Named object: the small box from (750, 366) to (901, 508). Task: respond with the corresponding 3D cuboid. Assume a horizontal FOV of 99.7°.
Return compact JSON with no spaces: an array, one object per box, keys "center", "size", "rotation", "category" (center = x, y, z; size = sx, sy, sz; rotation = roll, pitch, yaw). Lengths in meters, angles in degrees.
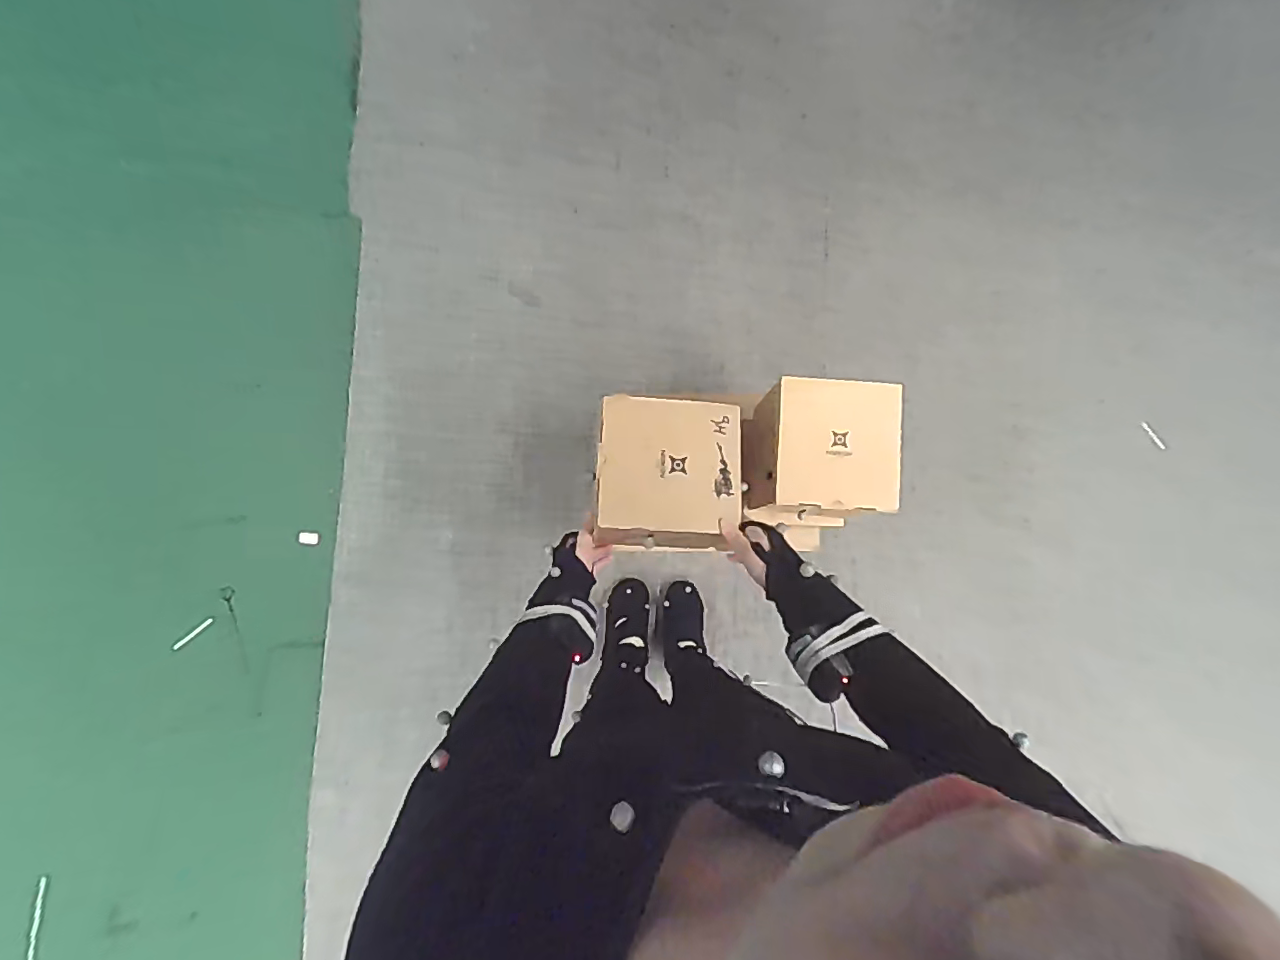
[{"center":[0.264,-0.054,0.802],"size":[0.168,0.176,0.179],"rotation":[4,85,-1],"category":"small box"}]
